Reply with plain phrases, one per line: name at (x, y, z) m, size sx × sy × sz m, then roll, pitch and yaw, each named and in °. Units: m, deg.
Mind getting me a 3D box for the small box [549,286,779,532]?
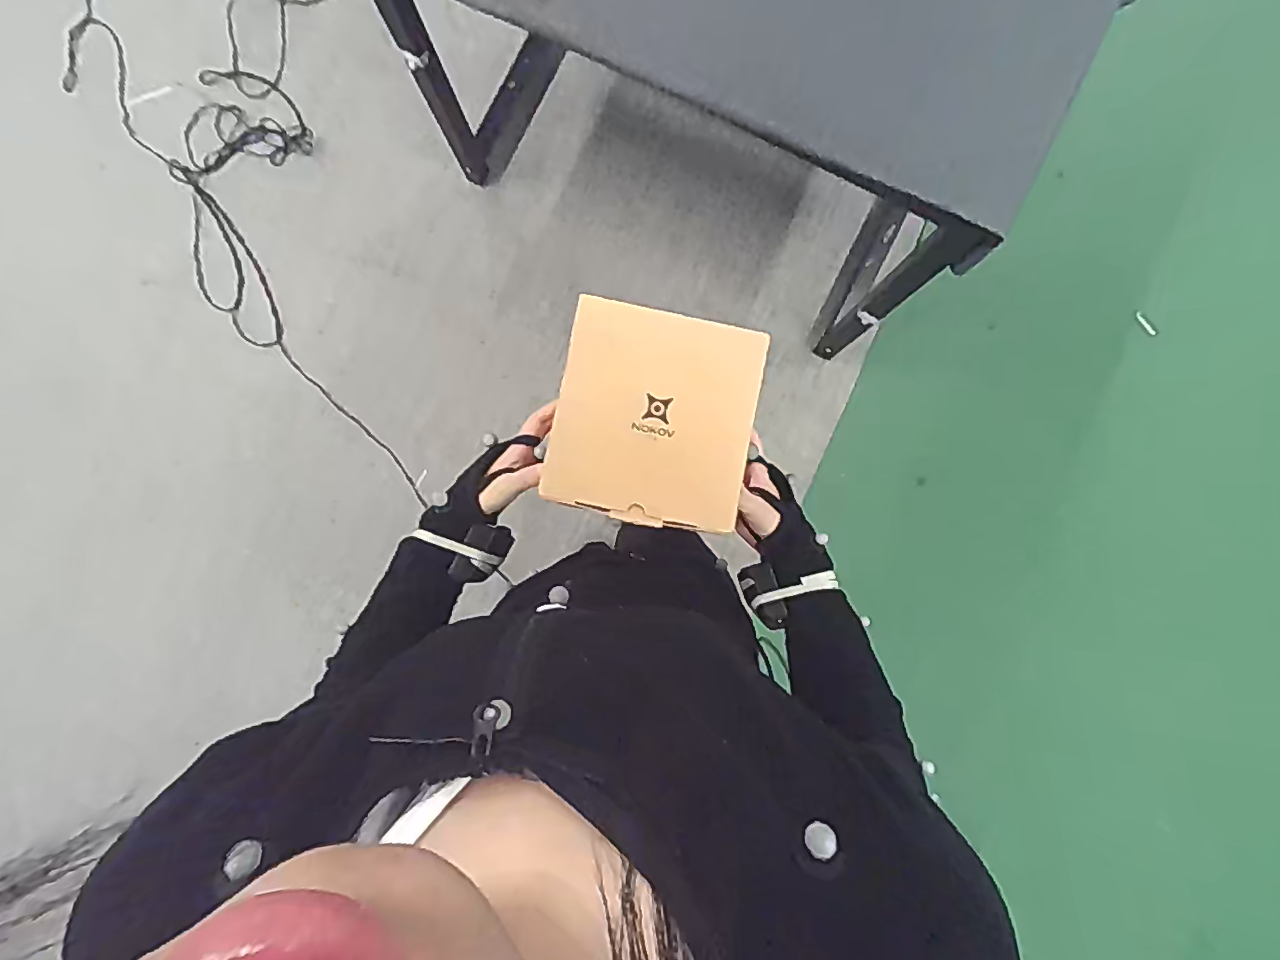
small box at (0.013, -0.053, 0.518) m, size 0.168 × 0.176 × 0.179 m, roll 12°, pitch 85°, yaw -5°
